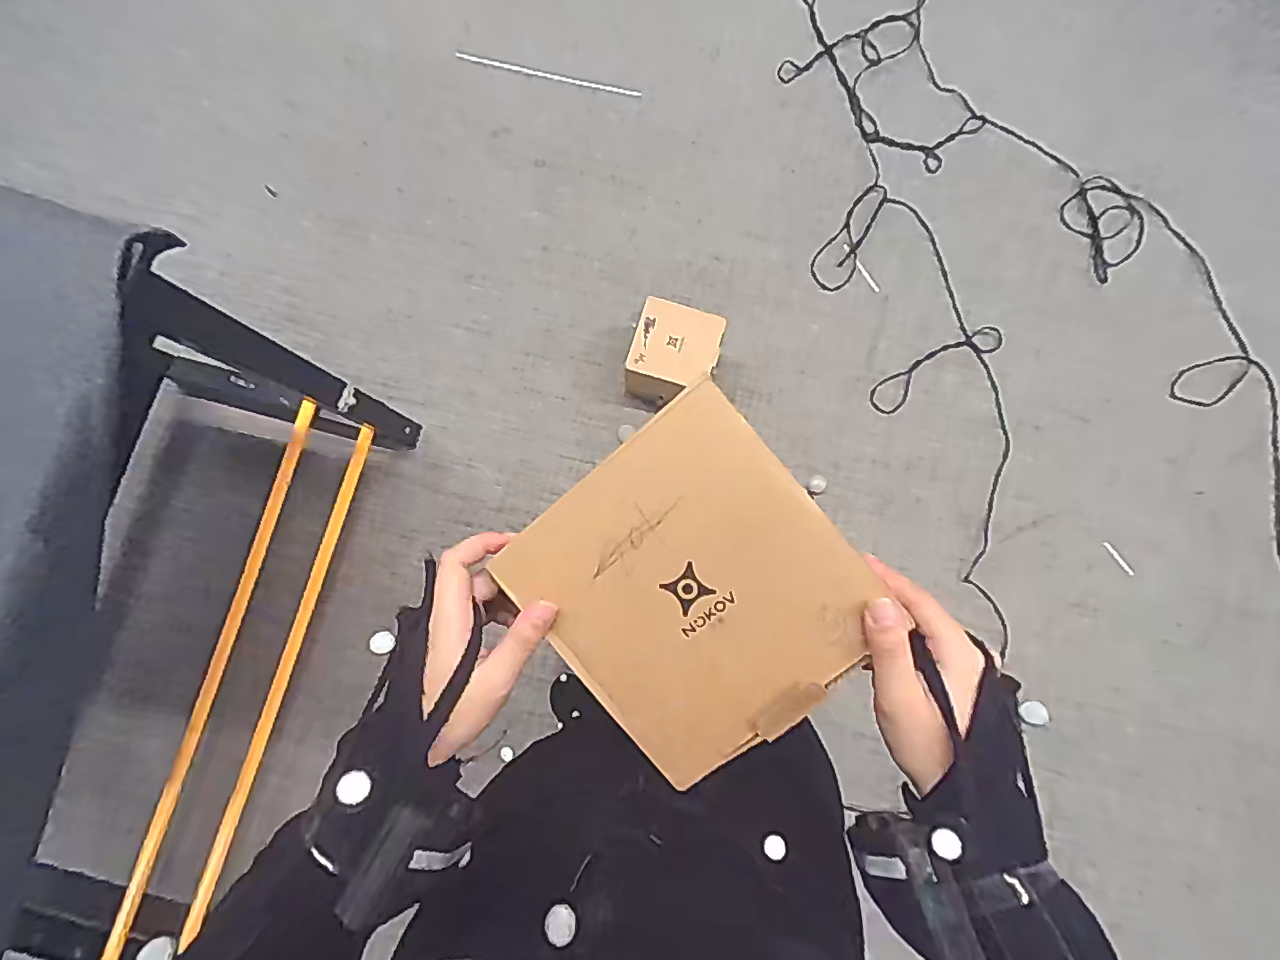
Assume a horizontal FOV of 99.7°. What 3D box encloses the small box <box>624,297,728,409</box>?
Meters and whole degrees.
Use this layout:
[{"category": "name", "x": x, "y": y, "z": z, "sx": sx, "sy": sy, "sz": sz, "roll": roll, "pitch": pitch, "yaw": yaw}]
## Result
[{"category": "small box", "x": 0.072, "y": -0.266, "z": 1.180, "sx": 0.179, "sy": 0.176, "sz": 0.168, "roll": 18, "pitch": 83, "yaw": 0}]
